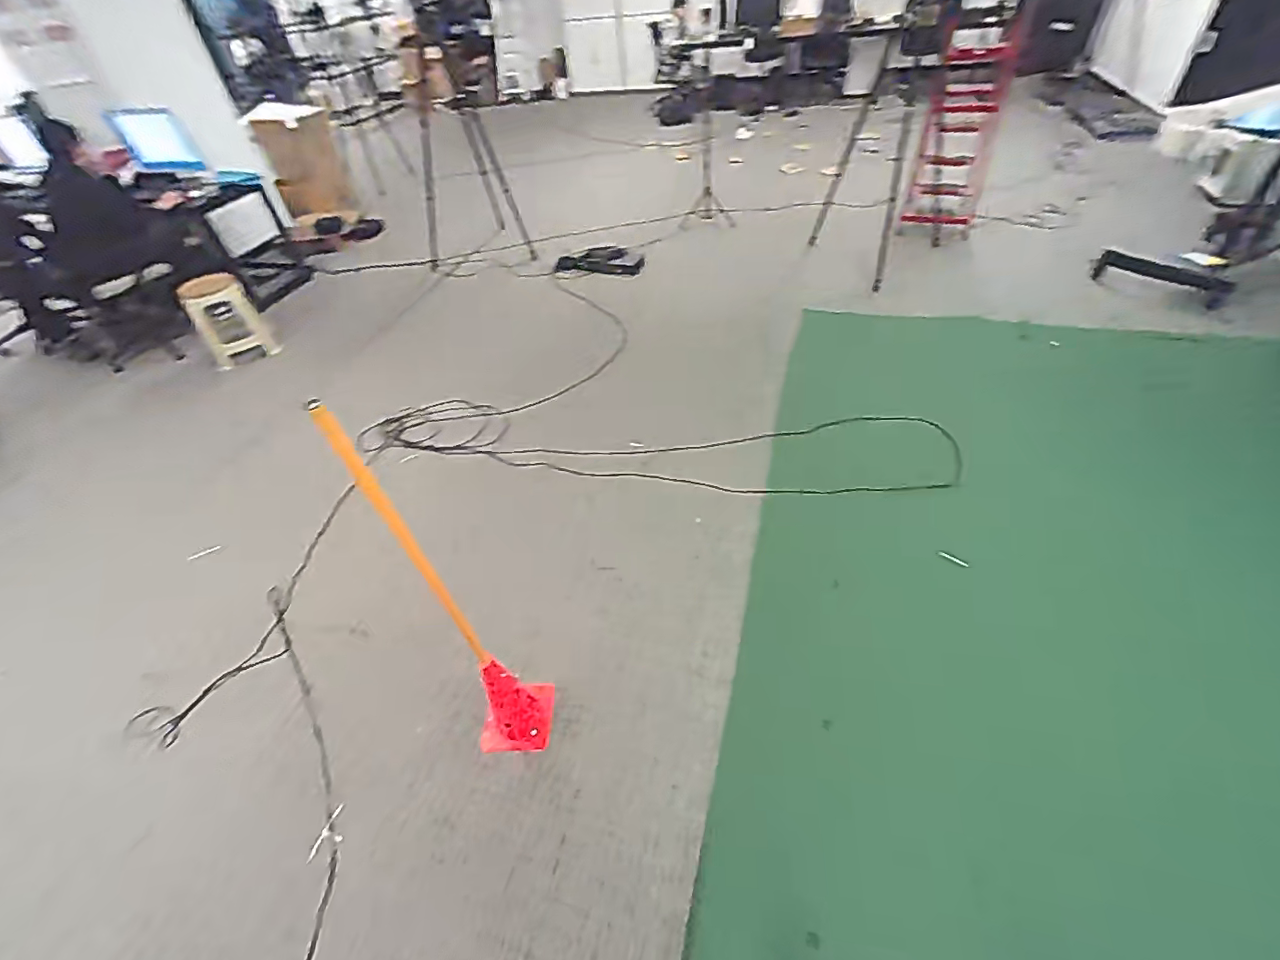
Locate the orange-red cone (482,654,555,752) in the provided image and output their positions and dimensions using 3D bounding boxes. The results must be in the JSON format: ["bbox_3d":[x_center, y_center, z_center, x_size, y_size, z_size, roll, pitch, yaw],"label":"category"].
[{"bbox_3d":[-0.376,0.591,1.516,0.198,0.360,0.199,-2,43,4],"label":"orange-red cone"}]
